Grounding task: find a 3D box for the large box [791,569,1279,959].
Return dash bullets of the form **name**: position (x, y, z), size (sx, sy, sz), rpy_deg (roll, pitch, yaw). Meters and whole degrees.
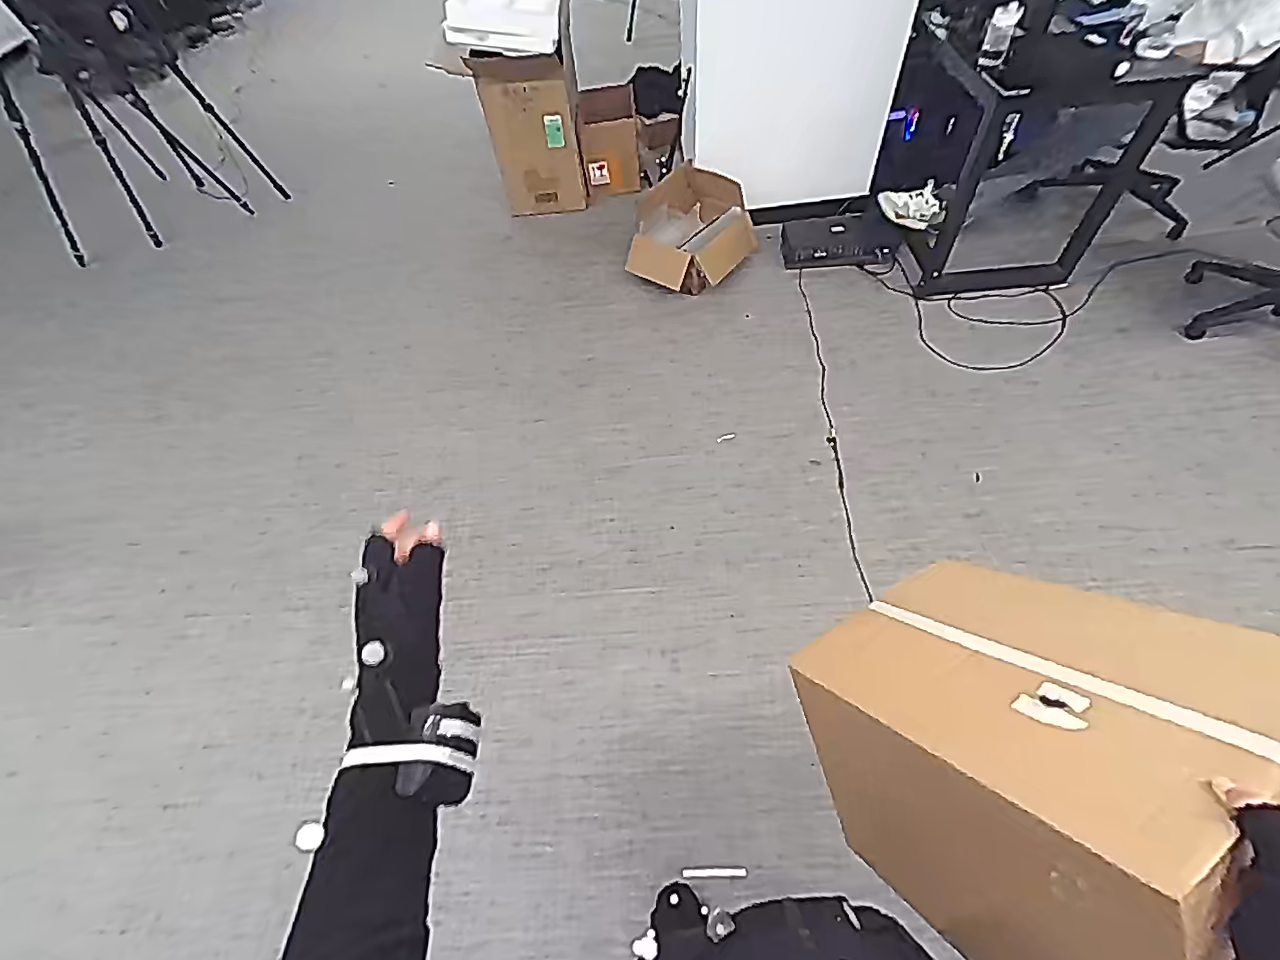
- **large box**: position (0.450, 0.339, 0.612), size (0.320, 0.320, 0.408), rpy_deg (-24, 12, -19)
